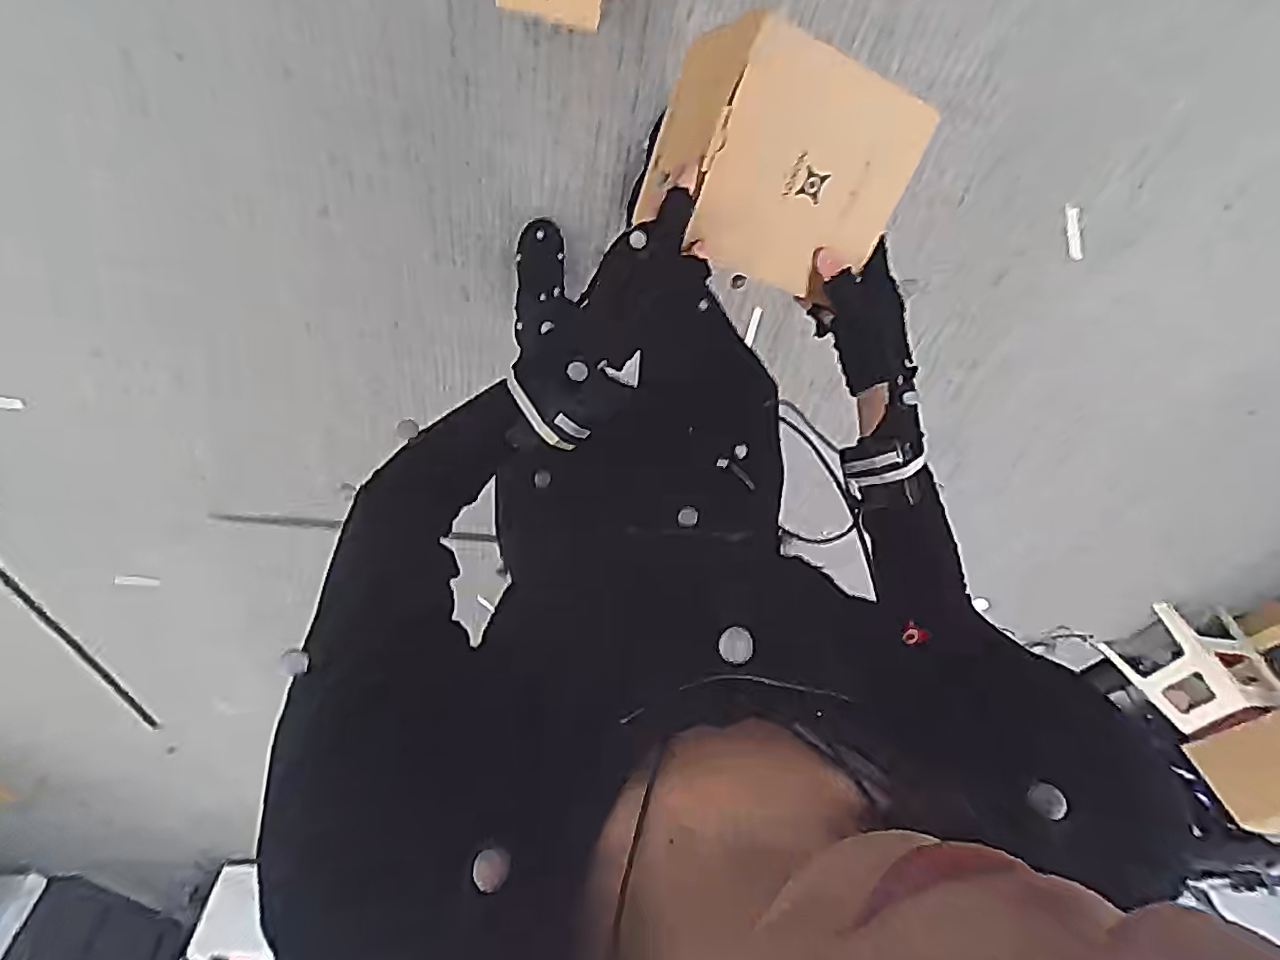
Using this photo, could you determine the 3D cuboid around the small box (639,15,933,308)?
[{"bbox_3d":[0.115,-0.284,0.507,0.179,0.176,0.168,10,119,-23],"label":"small box"}]
